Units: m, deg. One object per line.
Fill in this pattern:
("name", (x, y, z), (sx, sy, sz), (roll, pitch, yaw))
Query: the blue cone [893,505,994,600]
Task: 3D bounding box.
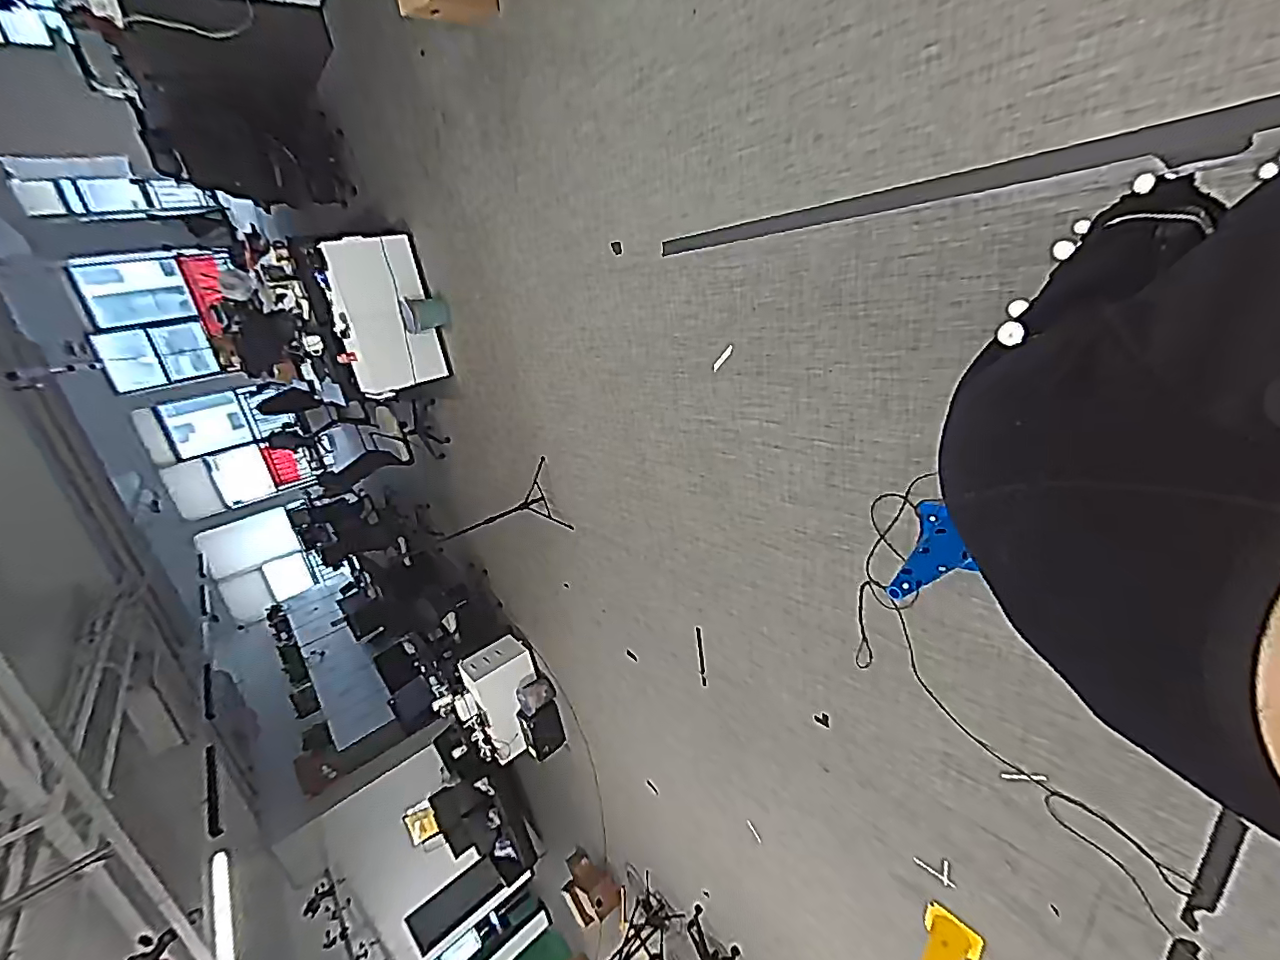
("blue cone", (0.784, 0.221, 1.462), (0.192, 0.380, 0.193), (10, 118, 51))
